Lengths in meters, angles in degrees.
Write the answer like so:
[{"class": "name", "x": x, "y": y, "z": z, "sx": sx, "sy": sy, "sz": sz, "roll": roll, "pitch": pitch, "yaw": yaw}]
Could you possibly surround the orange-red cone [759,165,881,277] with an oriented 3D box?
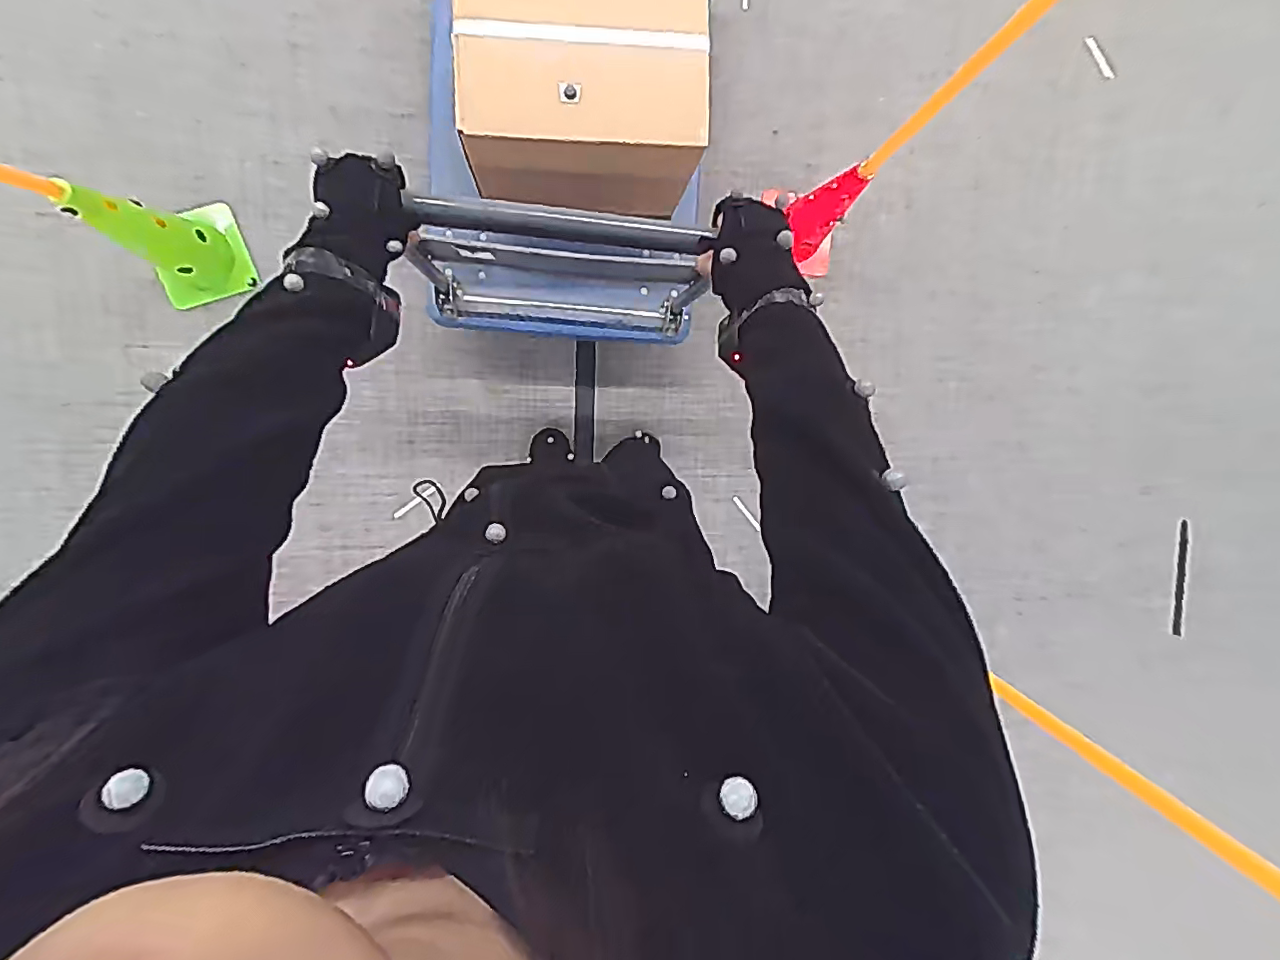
[{"class": "orange-red cone", "x": 0.442, "y": -0.626, "z": 1.247, "sx": 0.199, "sy": 0.360, "sz": 0.198, "roll": 7, "pitch": 95, "yaw": -9}]
